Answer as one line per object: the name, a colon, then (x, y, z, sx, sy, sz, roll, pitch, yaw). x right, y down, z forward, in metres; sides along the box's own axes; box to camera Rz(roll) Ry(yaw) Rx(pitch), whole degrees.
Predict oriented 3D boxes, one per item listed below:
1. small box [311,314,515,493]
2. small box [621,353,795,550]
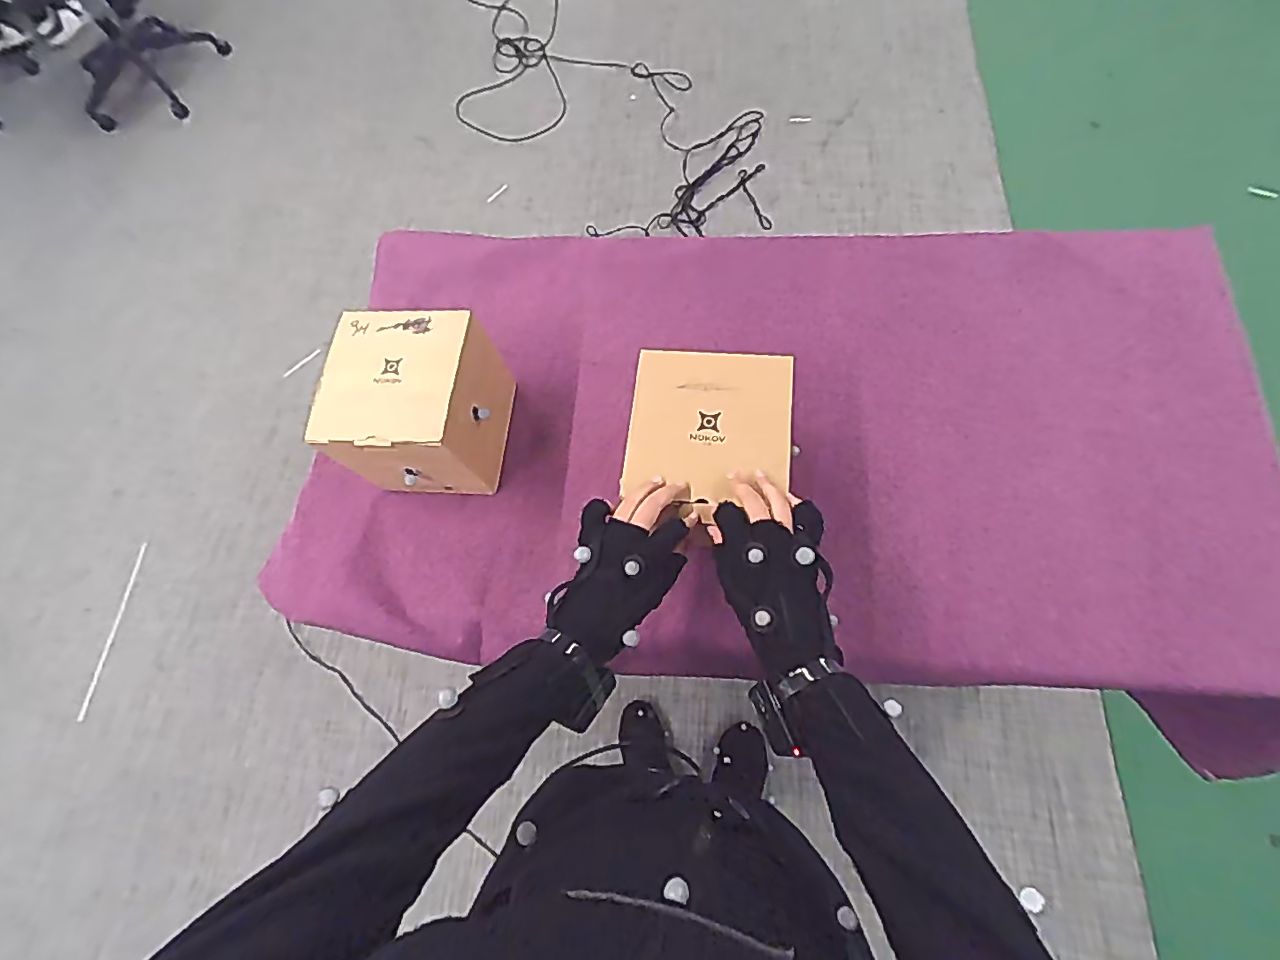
small box: (-0.272, -0.089, 0.694, 0.168, 0.176, 0.179, 2, 70, 7)
small box: (0.081, -0.024, 0.627, 0.168, 0.176, 0.179, 5, 70, 8)
